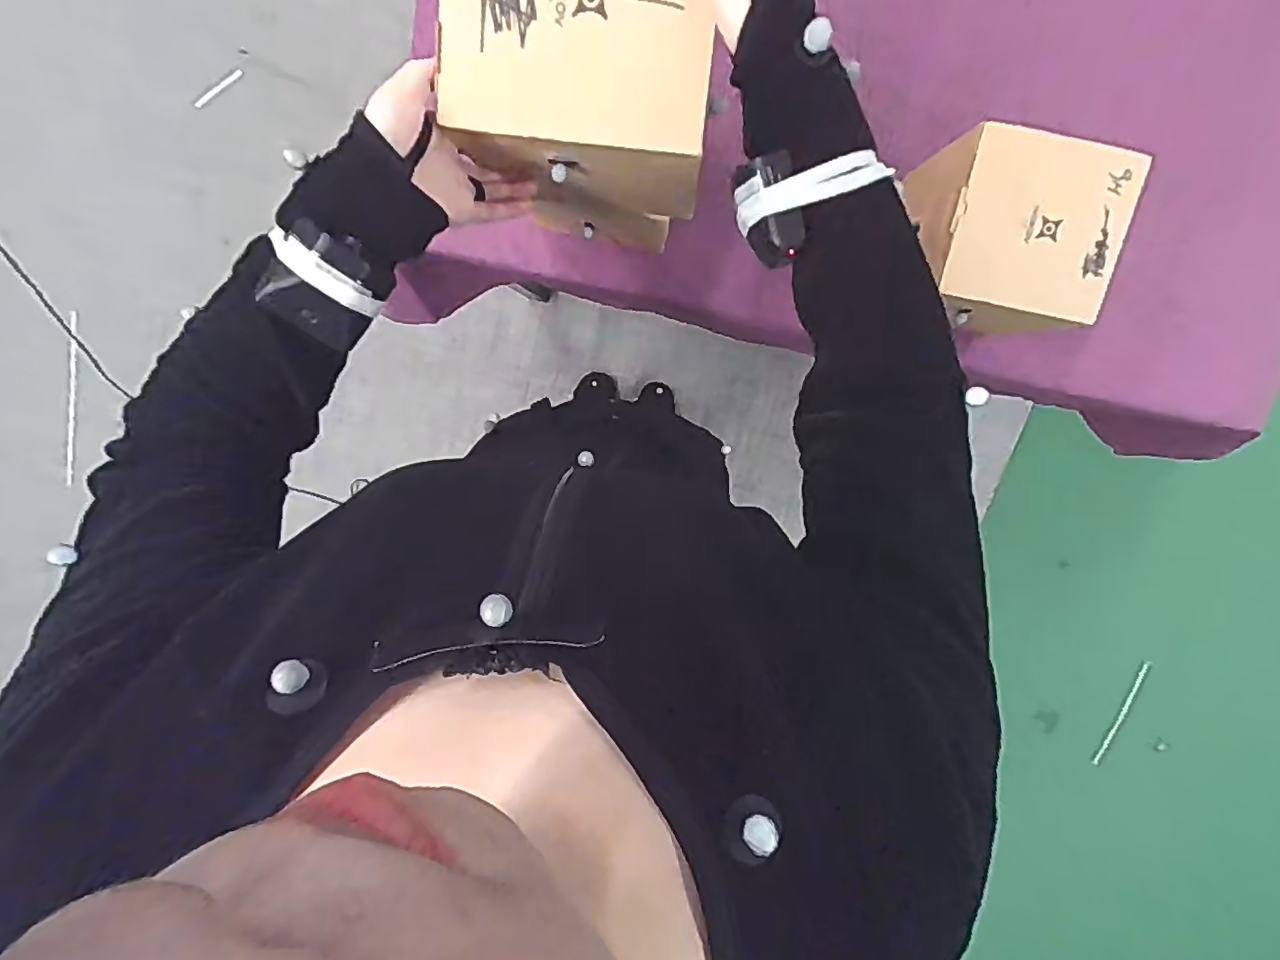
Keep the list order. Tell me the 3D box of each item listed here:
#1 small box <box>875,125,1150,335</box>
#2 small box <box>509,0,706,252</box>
[{"bbox_3d":[0.401,-0.268,0.621,0.179,0.176,0.168,12,102,-1],"label":"small box"},{"bbox_3d":[-0.034,-0.371,0.602,0.168,0.176,0.179,12,101,-3],"label":"small box"}]
